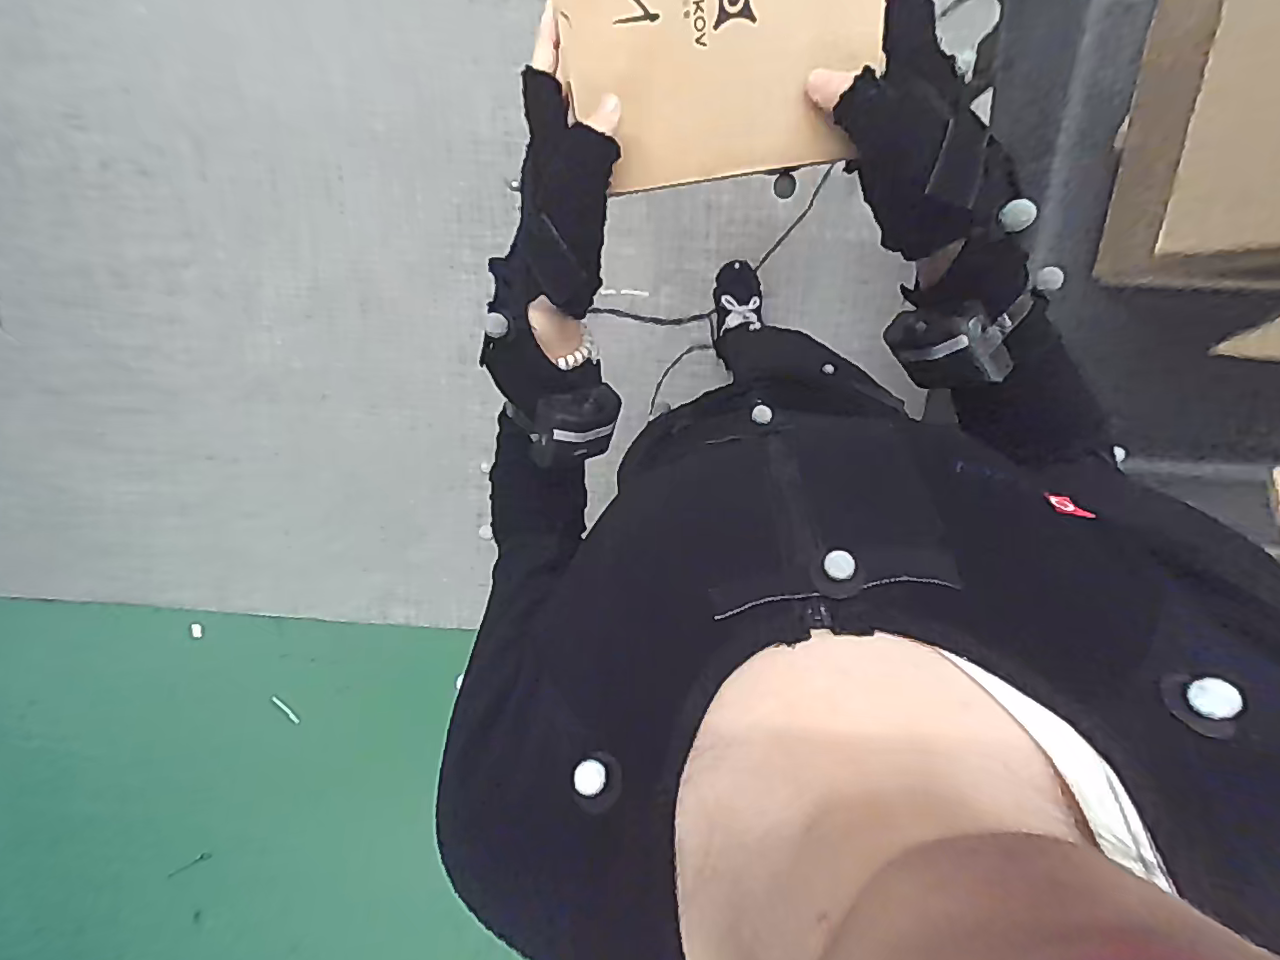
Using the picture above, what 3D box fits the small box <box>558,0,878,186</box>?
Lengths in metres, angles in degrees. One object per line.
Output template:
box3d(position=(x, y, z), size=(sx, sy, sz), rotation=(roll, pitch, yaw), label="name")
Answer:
box3d(position=(0.044, -0.300, 0.363), size=(0.179, 0.176, 0.168), rotation=(-5, 117, 5), label="small box")
